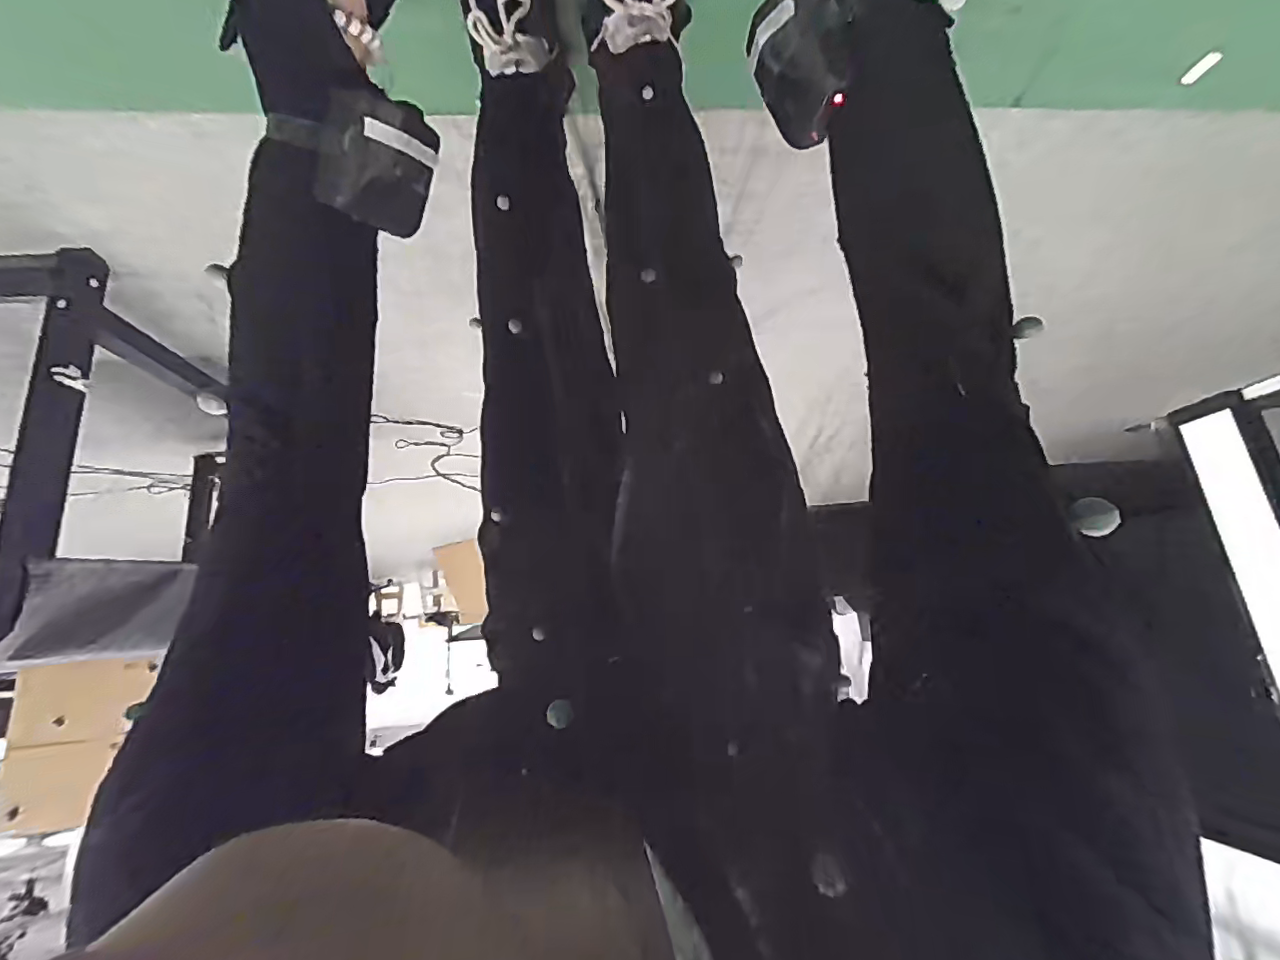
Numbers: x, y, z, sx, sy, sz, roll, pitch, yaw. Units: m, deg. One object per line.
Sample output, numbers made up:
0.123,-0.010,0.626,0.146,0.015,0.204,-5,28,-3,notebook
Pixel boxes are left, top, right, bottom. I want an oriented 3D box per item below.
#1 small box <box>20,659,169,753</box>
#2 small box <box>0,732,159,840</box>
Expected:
-1.218,0.501,1.225,0.179,0.176,0.168,-4,164,-3,small box
-1.218,0.663,1.193,0.179,0.176,0.168,-5,165,-2,small box
